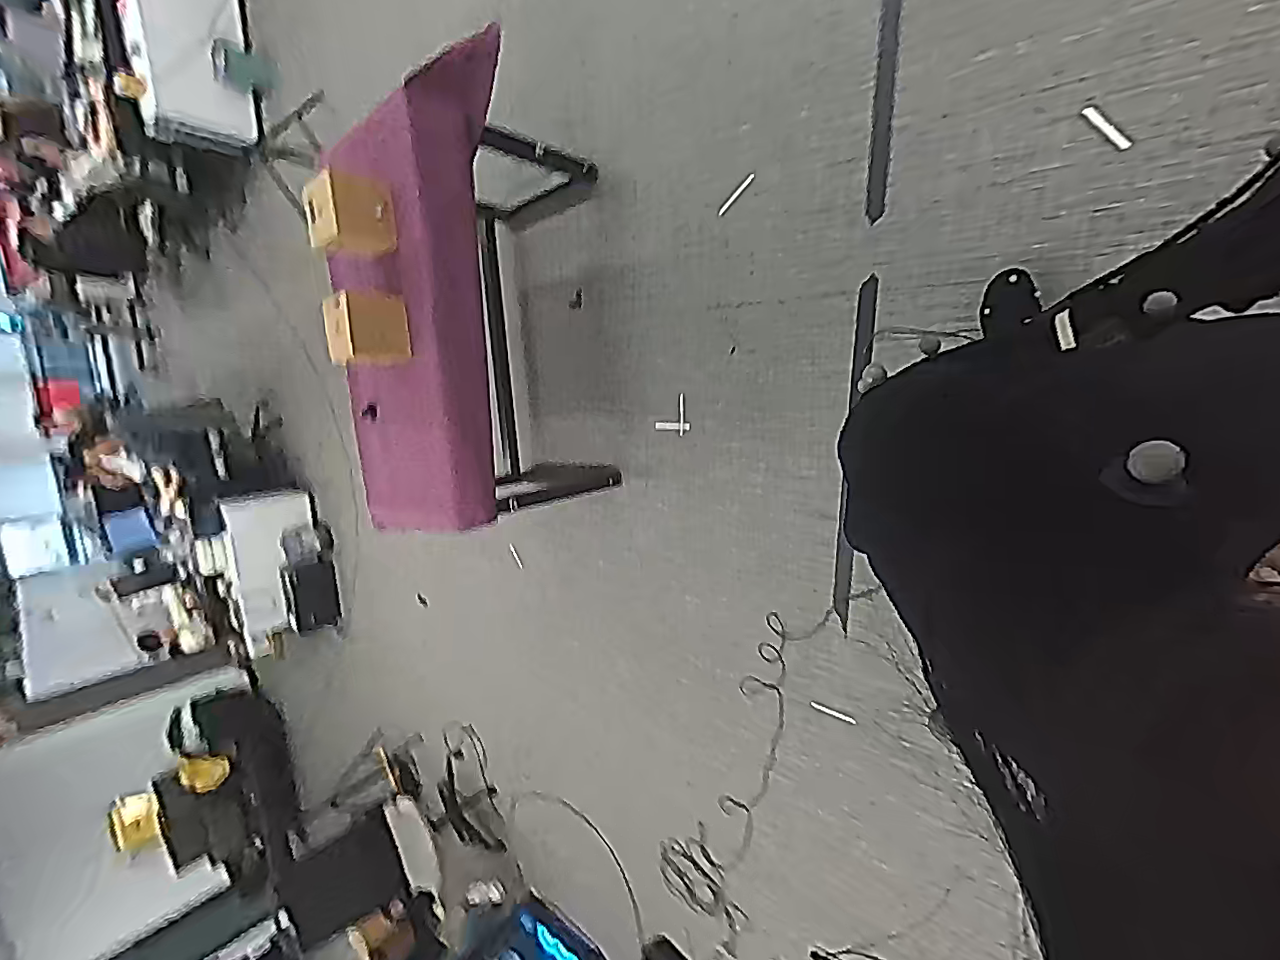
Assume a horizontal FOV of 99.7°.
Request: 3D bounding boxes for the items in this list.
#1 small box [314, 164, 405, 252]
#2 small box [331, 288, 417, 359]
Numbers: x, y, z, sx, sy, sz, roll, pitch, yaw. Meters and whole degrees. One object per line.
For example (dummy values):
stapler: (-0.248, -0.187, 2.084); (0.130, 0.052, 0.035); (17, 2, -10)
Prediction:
small box: (-0.790, -0.758, 1.528); (0.179, 0.176, 0.168); (3, 102, 41)
small box: (-0.769, -0.452, 1.576); (0.168, 0.176, 0.179); (3, 102, 41)
